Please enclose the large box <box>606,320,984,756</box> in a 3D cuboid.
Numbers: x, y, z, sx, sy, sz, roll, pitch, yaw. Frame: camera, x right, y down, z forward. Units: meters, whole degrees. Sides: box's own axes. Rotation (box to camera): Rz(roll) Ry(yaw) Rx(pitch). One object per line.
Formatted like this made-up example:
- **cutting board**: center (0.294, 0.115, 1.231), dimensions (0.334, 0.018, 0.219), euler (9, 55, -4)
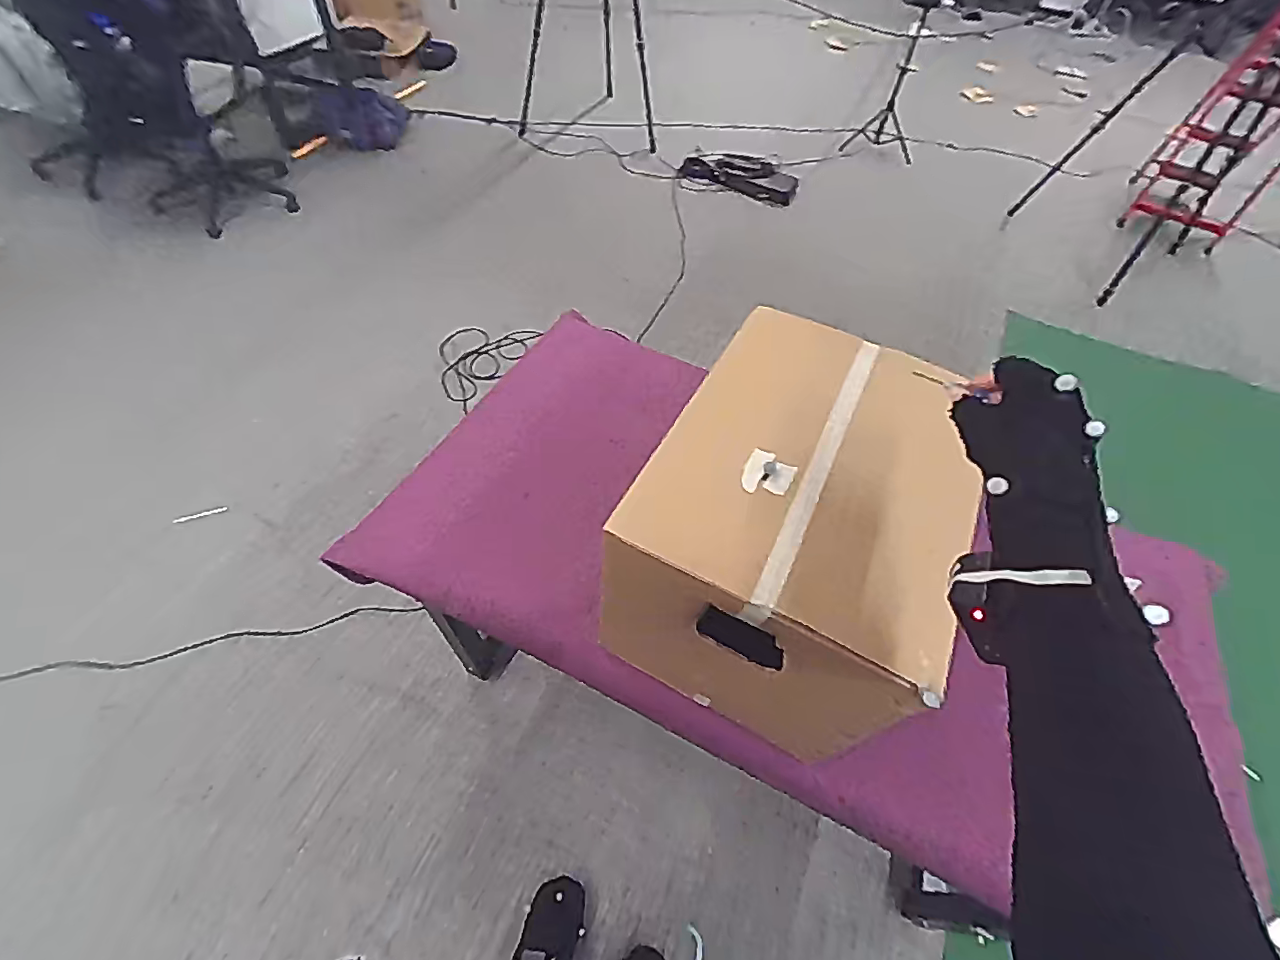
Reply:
- **large box**: center (0.186, 0.070, 0.709), dimensions (0.320, 0.320, 0.408), euler (26, 56, 14)
